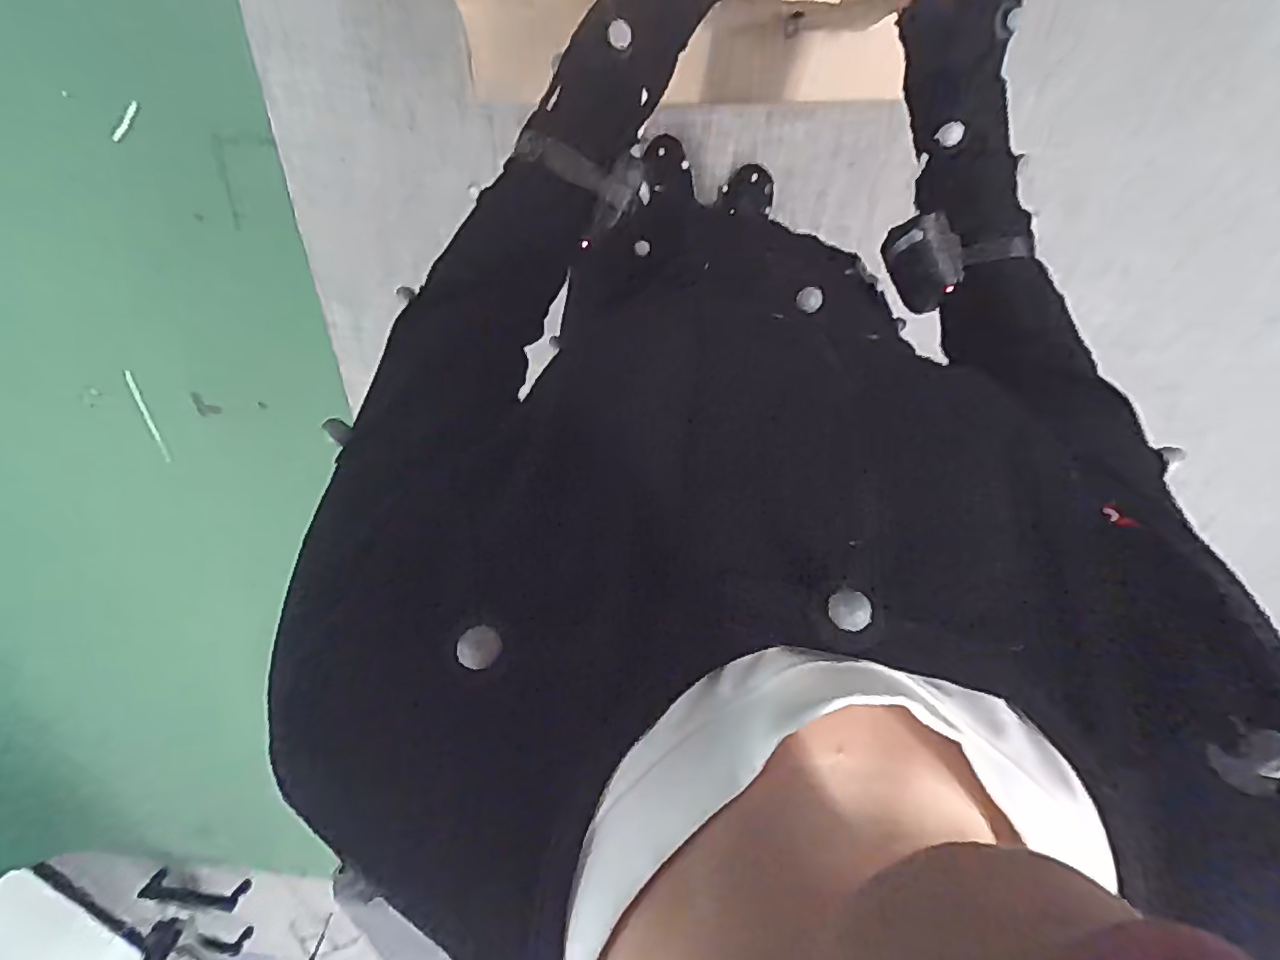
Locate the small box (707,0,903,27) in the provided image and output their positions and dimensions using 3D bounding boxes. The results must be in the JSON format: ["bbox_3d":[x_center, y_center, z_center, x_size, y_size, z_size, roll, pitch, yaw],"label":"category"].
[{"bbox_3d":[0.142,-0.482,0.427,0.168,0.176,0.179,4,122,3],"label":"small box"}]

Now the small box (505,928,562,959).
[{"bbox_3d":[-0.357,1.628,1.795,0.168,0.176,0.179,1,122,3],"label":"small box"}]
